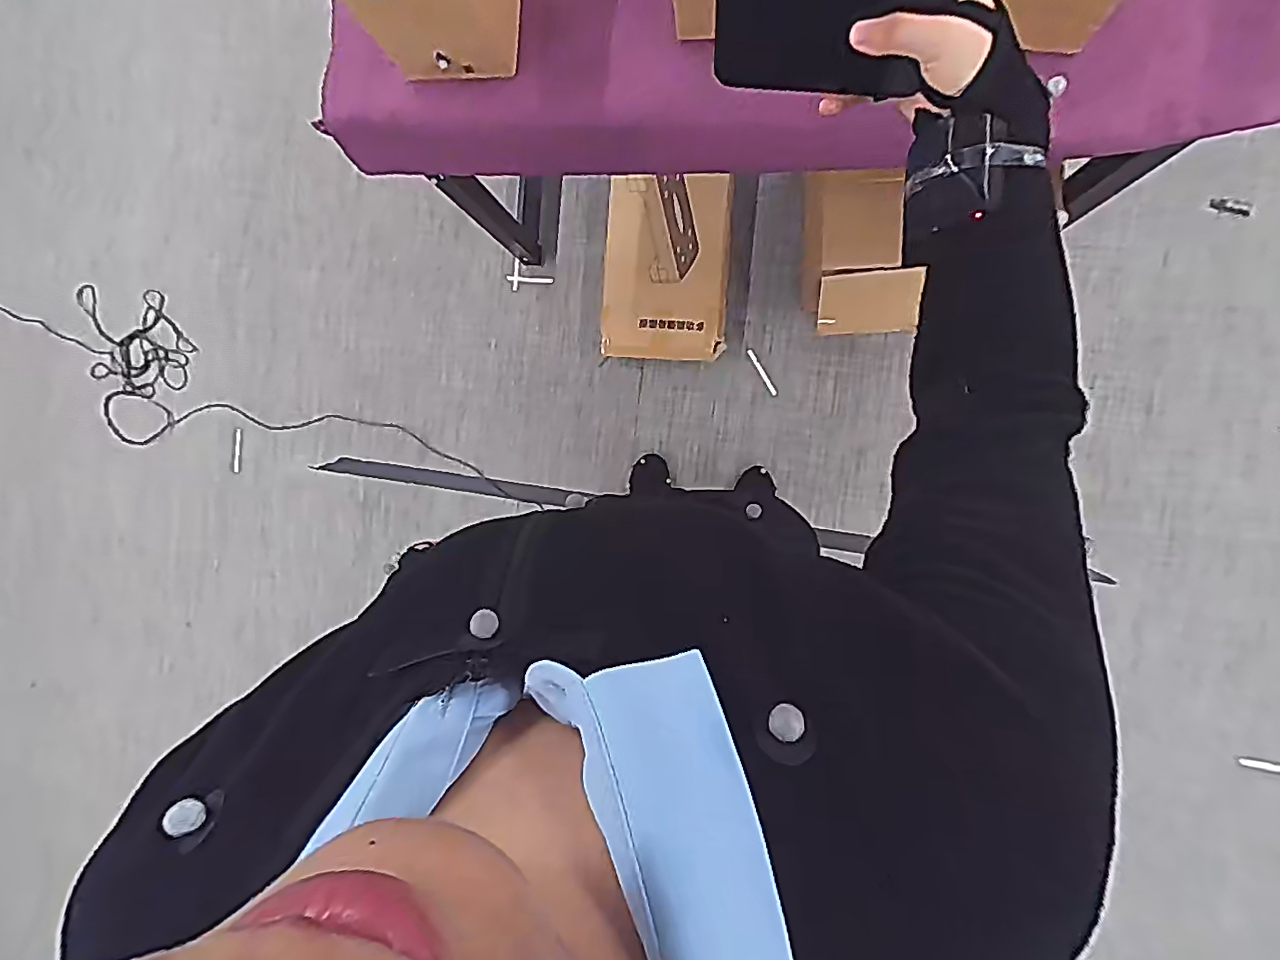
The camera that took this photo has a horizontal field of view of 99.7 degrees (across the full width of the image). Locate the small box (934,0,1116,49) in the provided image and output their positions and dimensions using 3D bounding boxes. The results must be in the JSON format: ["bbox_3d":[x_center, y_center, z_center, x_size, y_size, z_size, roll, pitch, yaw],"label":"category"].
[{"bbox_3d":[0.442,-0.601,0.571,0.179,0.176,0.168,12,95,8],"label":"small box"}]

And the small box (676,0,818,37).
[{"bbox_3d":[0.131,-0.653,0.617,0.179,0.176,0.168,5,91,9],"label":"small box"}]
